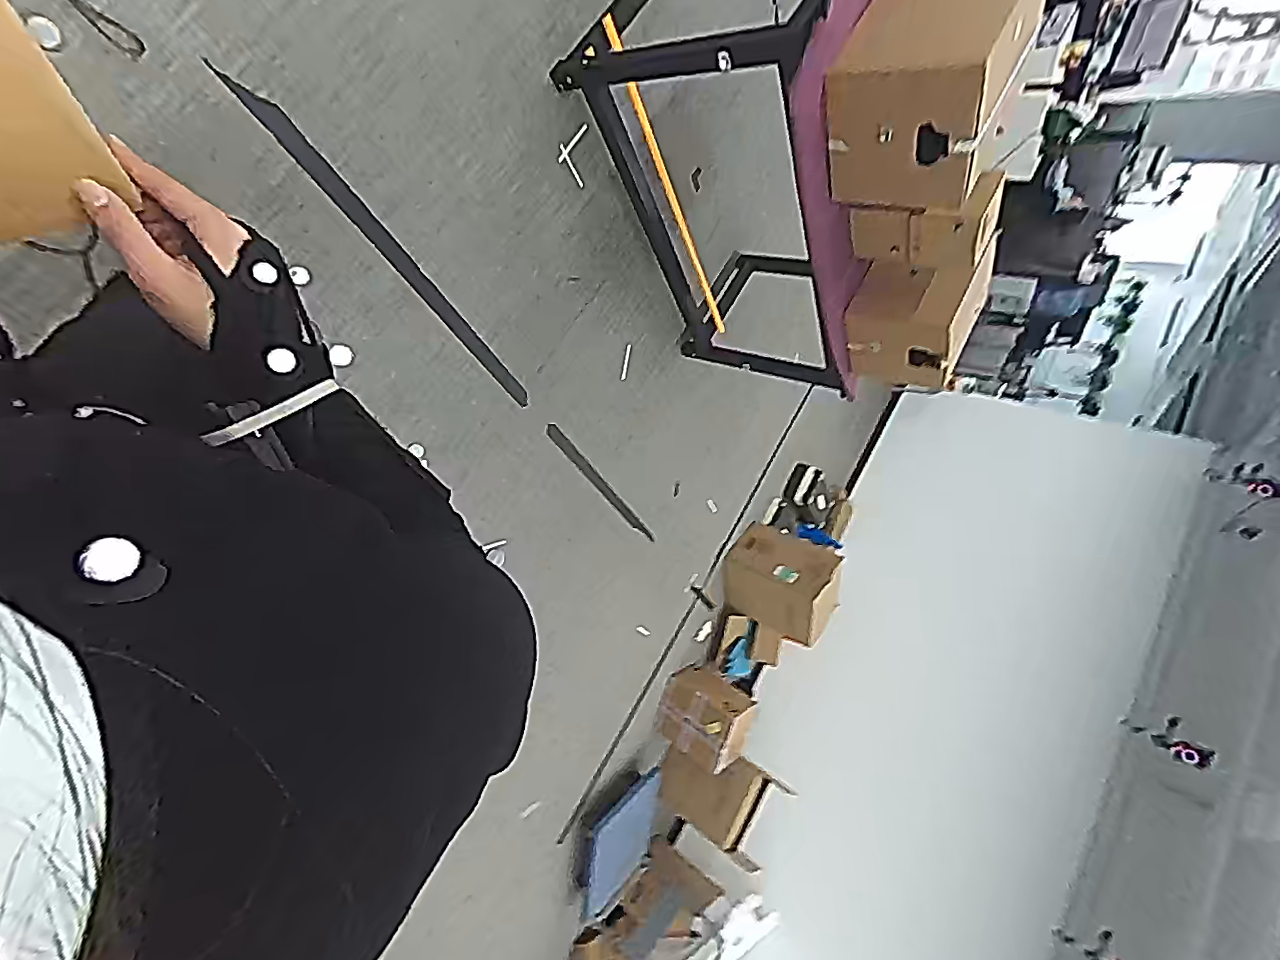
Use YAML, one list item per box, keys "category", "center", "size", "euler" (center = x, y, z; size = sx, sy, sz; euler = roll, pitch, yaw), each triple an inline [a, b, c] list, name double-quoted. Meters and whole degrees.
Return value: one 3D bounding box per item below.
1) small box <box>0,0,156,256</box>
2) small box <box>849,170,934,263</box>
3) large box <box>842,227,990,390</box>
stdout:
- category: "small box"
  center: [-0.390, -0.211, 0.241]
  size: [0.179, 0.176, 0.168]
  euler: [-35, 157, -26]
- category: "small box"
  center: [0.707, -0.748, 1.526]
  size: [0.168, 0.176, 0.179]
  euler: [-59, 146, -13]
- category: "large box"
  center: [0.903, -0.570, 1.786]
  size: [0.408, 0.320, 0.320]
  euler: [-60, 146, -14]
